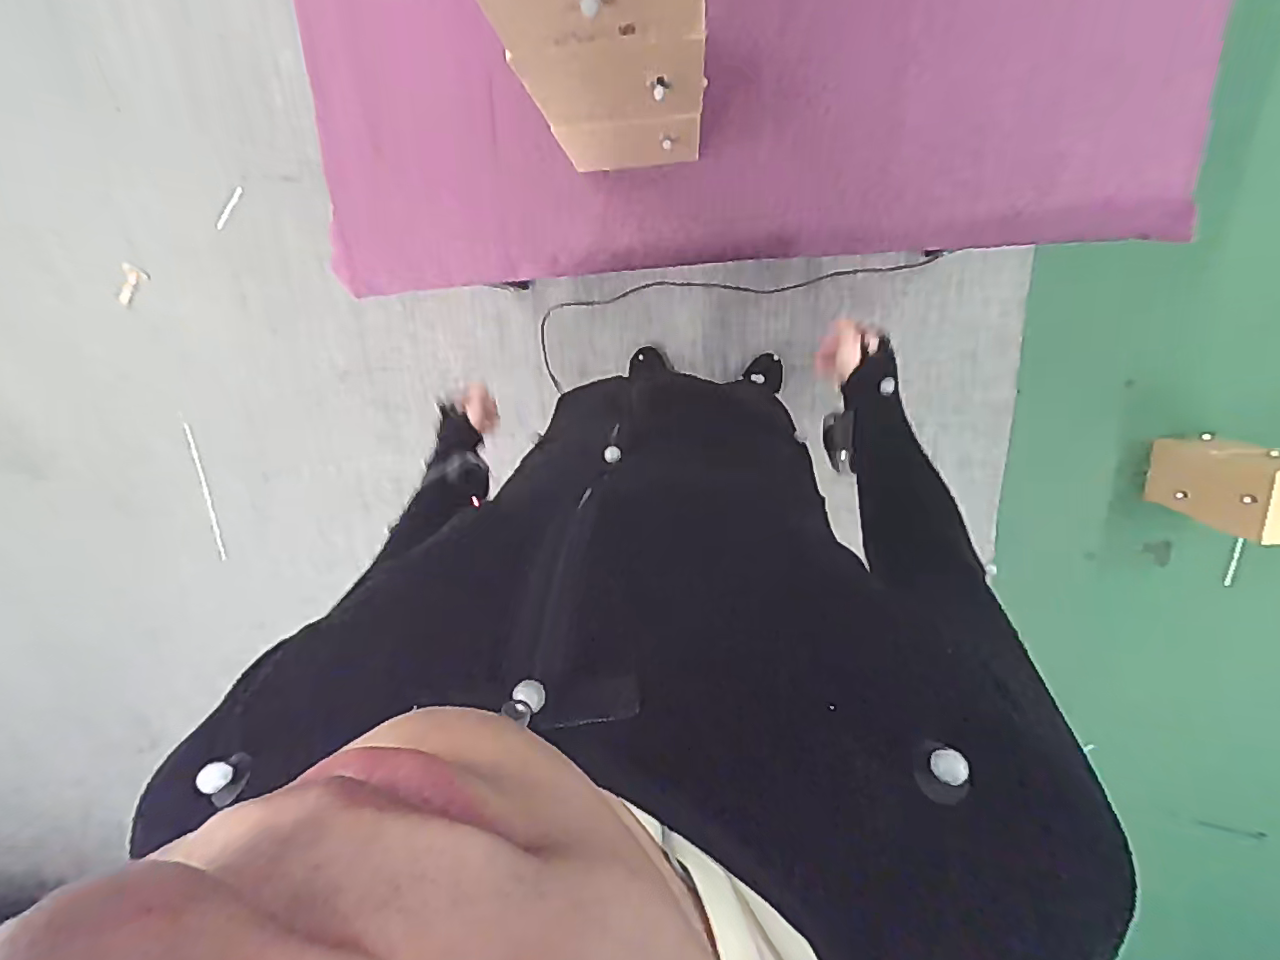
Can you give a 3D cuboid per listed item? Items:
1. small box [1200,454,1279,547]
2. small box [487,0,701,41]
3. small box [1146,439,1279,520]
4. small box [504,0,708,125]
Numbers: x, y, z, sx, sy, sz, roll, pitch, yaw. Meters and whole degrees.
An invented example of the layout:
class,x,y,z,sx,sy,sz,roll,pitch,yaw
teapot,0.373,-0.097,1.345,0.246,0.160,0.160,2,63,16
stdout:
class,x,y,z,sx,sy,sz,roll,pitch,yaw
small box,1.471,0.044,1.257,0.168,0.176,0.179,-3,103,7
small box,-0.043,-0.434,0.362,0.168,0.176,0.179,-3,104,6
small box,1.485,-0.004,1.411,0.168,0.176,0.179,-1,105,6
small box,-0.027,-0.469,0.520,0.179,0.176,0.168,-2,104,6
